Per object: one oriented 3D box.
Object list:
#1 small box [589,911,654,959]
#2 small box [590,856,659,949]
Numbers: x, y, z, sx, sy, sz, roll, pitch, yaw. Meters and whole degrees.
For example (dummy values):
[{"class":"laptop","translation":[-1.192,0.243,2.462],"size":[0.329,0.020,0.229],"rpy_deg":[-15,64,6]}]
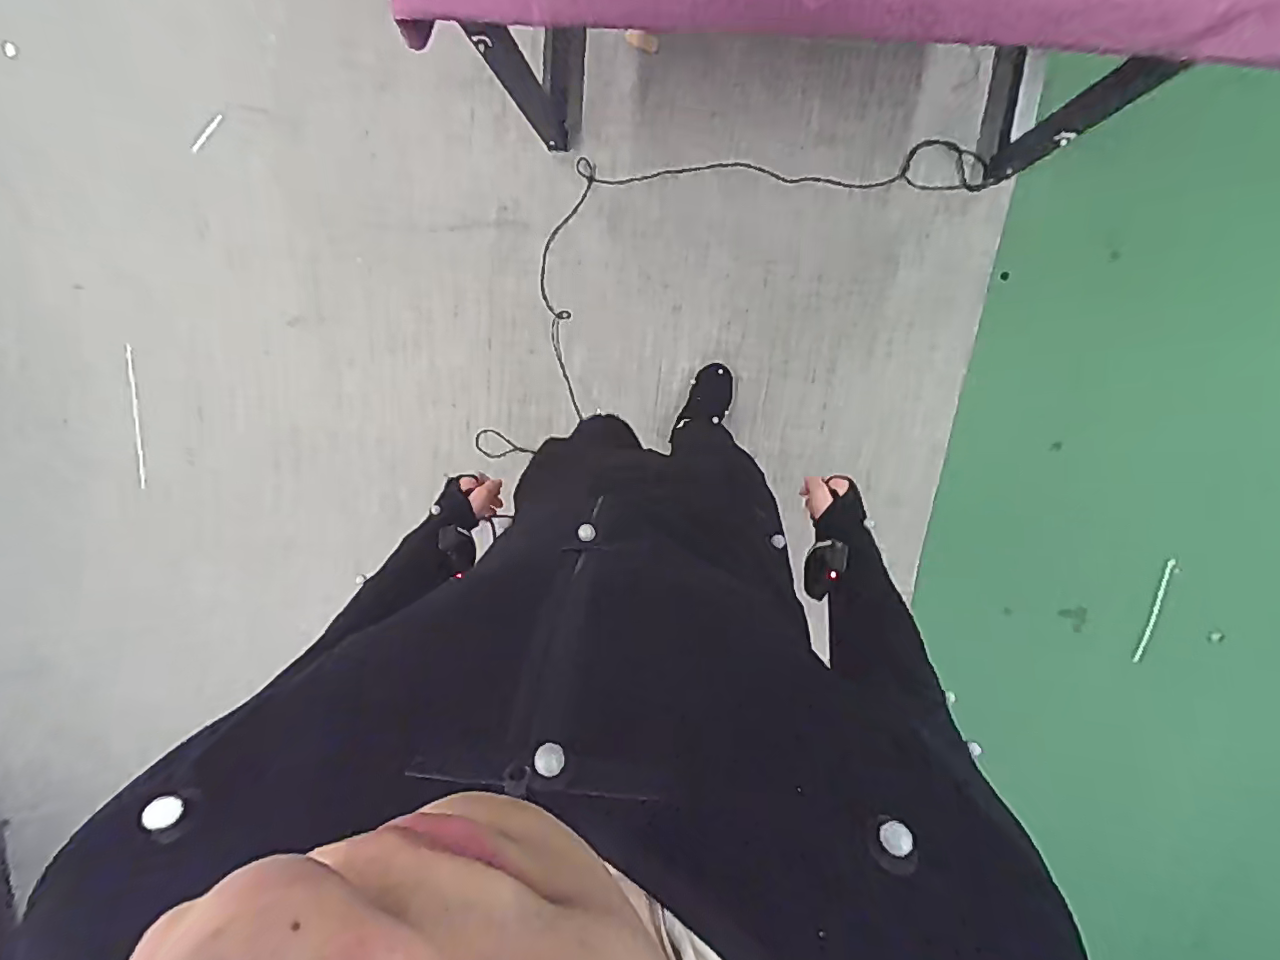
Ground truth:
[{"class":"small box","translation":[-0.057,1.306,1.443],"size":[0.168,0.176,0.179],"rpy_deg":[9,104,4]},{"class":"small box","translation":[-0.041,1.274,1.603],"size":[0.168,0.176,0.179],"rpy_deg":[12,103,3]}]
